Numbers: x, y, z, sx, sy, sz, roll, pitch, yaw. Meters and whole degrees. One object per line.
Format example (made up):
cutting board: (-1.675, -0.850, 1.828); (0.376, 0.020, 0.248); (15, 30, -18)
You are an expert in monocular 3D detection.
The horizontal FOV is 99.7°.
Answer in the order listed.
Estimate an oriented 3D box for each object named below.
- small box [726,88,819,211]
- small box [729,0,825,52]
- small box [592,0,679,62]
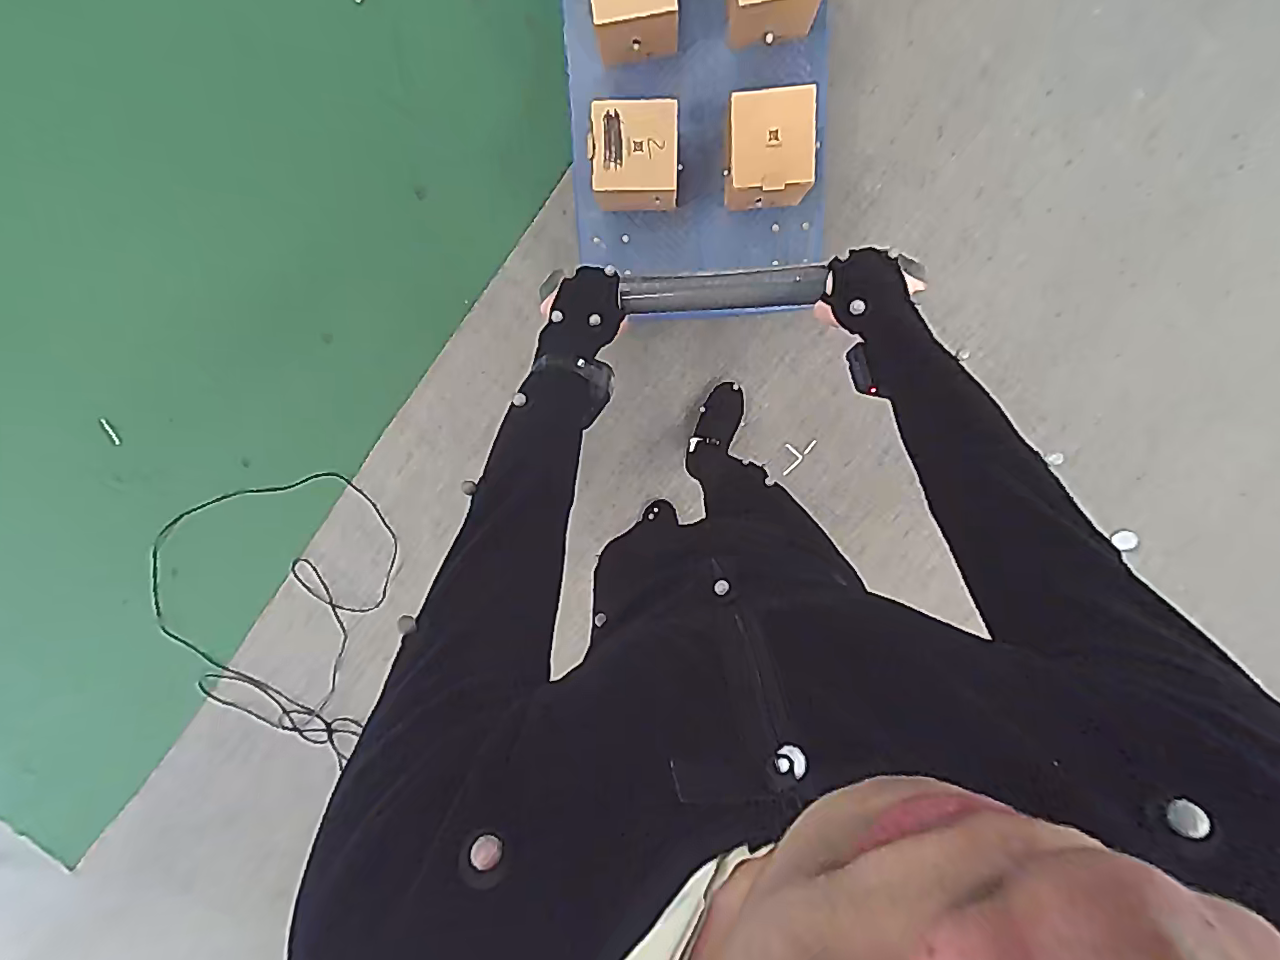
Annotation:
small box: (0.273, -0.691, 1.146); (0.168, 0.176, 0.179); (-3, 104, 4)
small box: (0.265, -1.000, 1.069); (0.168, 0.176, 0.179); (-6, 104, 5)
small box: (-0.010, -0.982, 1.090); (0.168, 0.176, 0.179); (-6, 104, 4)
